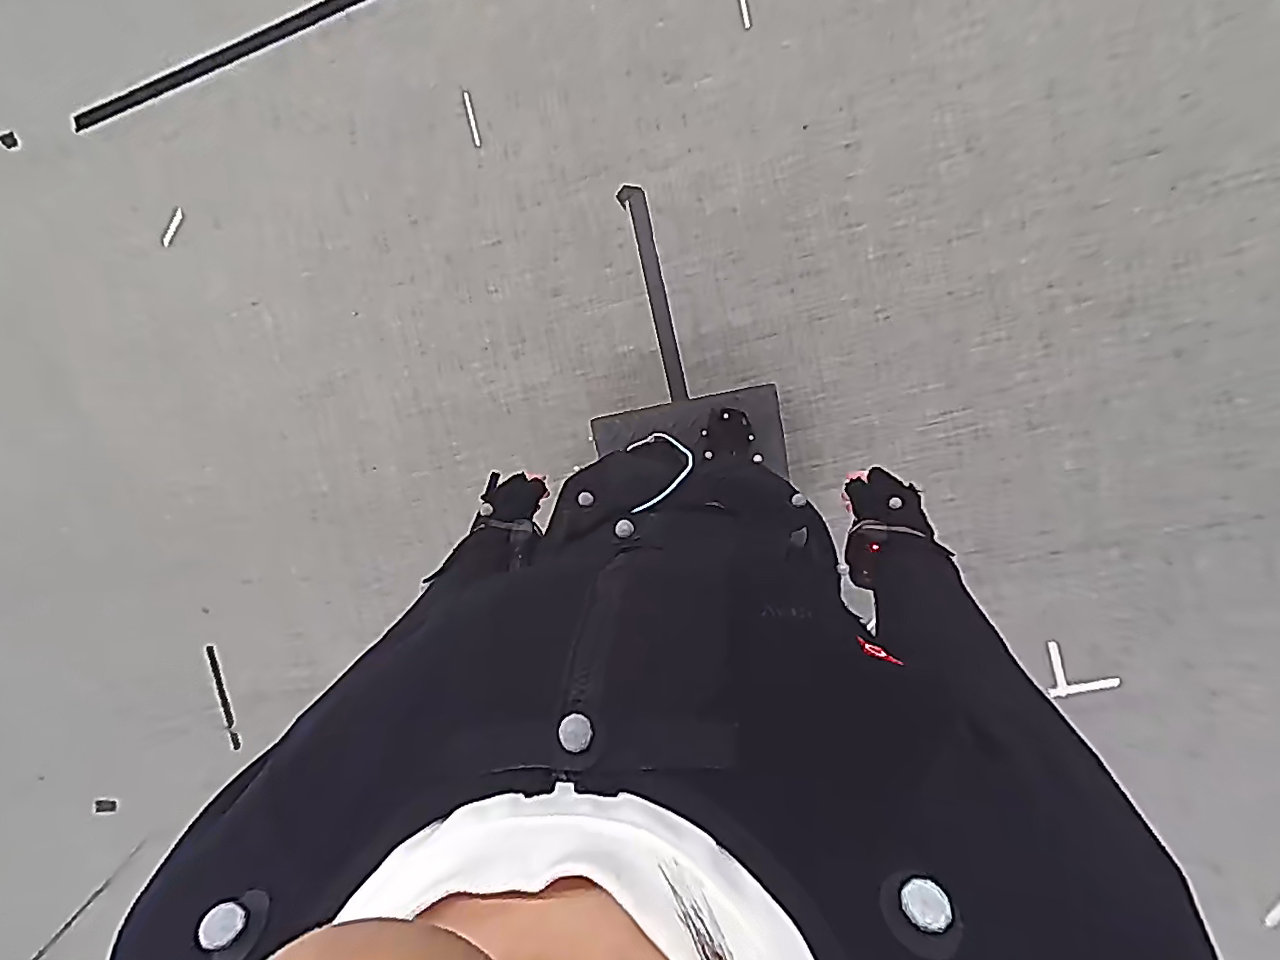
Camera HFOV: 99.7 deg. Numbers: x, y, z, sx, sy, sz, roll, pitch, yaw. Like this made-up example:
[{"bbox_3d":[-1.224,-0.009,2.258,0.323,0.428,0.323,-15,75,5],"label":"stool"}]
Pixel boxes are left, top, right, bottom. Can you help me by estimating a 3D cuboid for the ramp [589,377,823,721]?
[{"bbox_3d":[0.208,0.246,1.524,0.509,0.206,0.991,-12,96,10],"label":"ramp"}]
